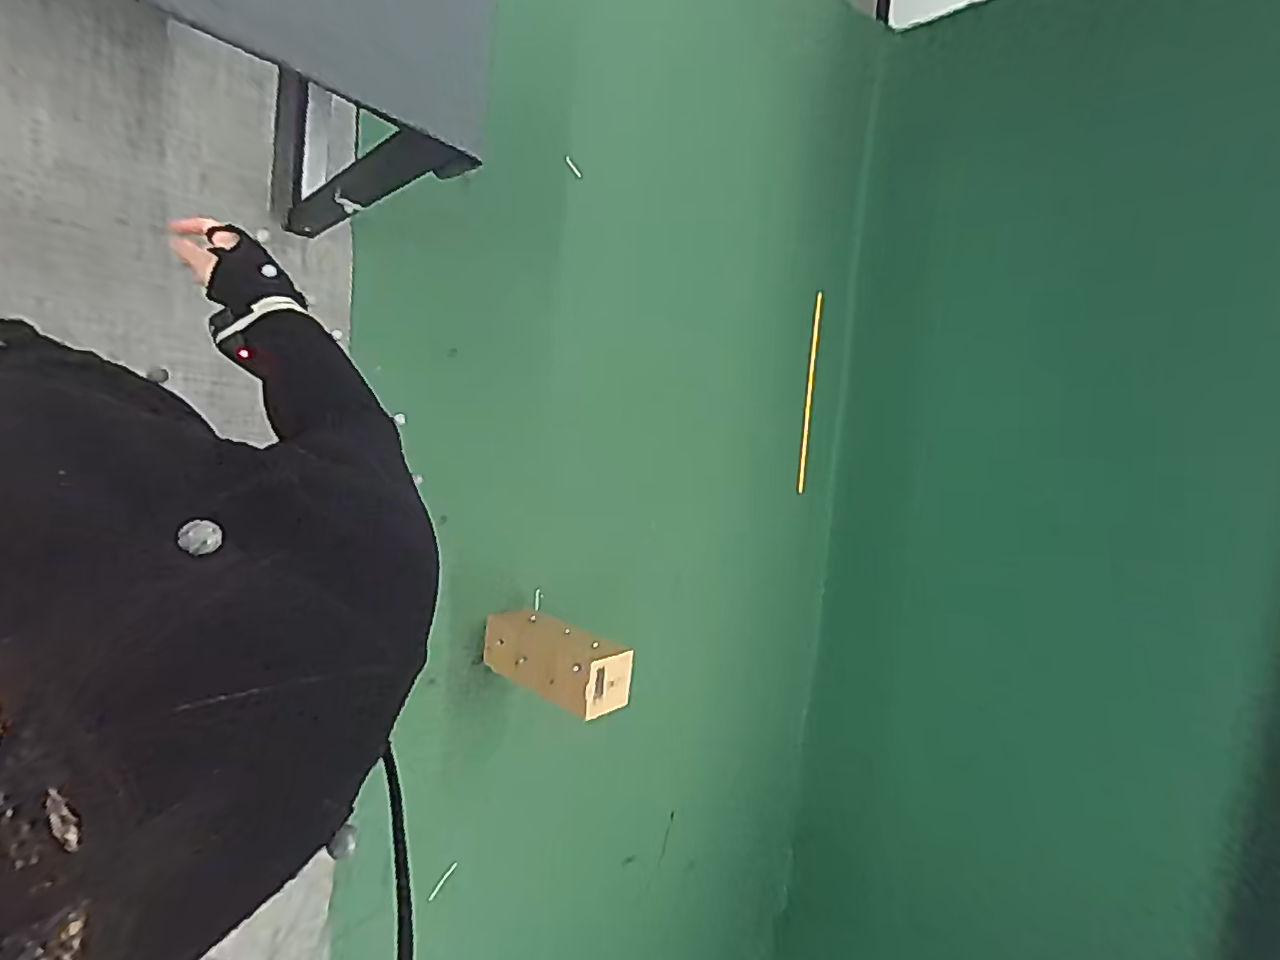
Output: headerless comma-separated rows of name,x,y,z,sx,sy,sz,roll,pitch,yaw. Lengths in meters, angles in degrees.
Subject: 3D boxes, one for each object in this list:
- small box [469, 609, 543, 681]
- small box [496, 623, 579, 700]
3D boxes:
small box,-0.444,0.536,1.779,0.179,0.176,0.168,1,95,-51
small box,-0.317,0.551,1.674,0.179,0.176,0.168,5,91,-50
